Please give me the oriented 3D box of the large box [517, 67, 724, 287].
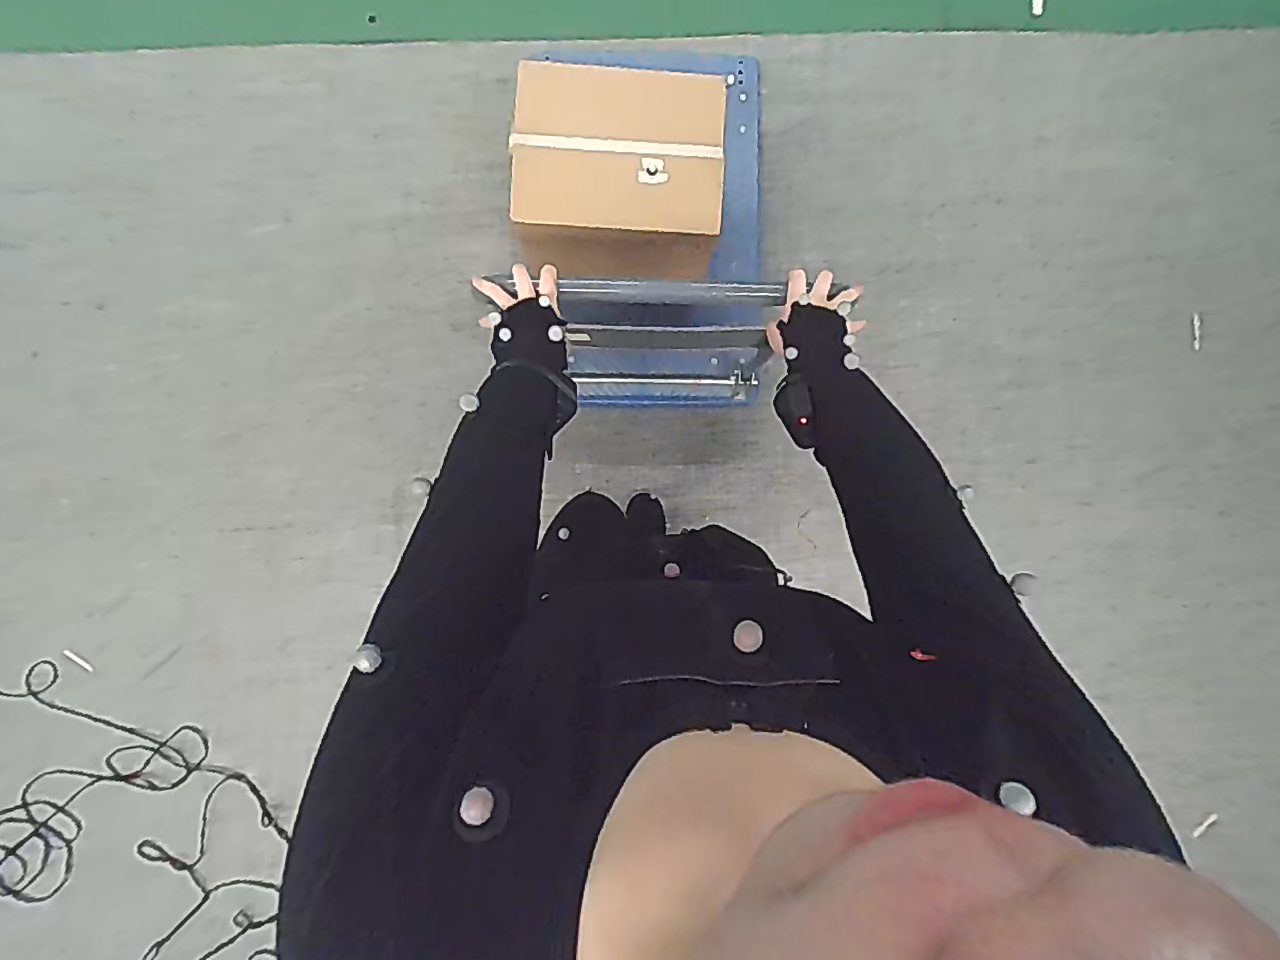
[{"bbox_3d":[-0.045,-0.642,1.201,0.408,0.320,0.320,2,89,-2],"label":"large box"}]
